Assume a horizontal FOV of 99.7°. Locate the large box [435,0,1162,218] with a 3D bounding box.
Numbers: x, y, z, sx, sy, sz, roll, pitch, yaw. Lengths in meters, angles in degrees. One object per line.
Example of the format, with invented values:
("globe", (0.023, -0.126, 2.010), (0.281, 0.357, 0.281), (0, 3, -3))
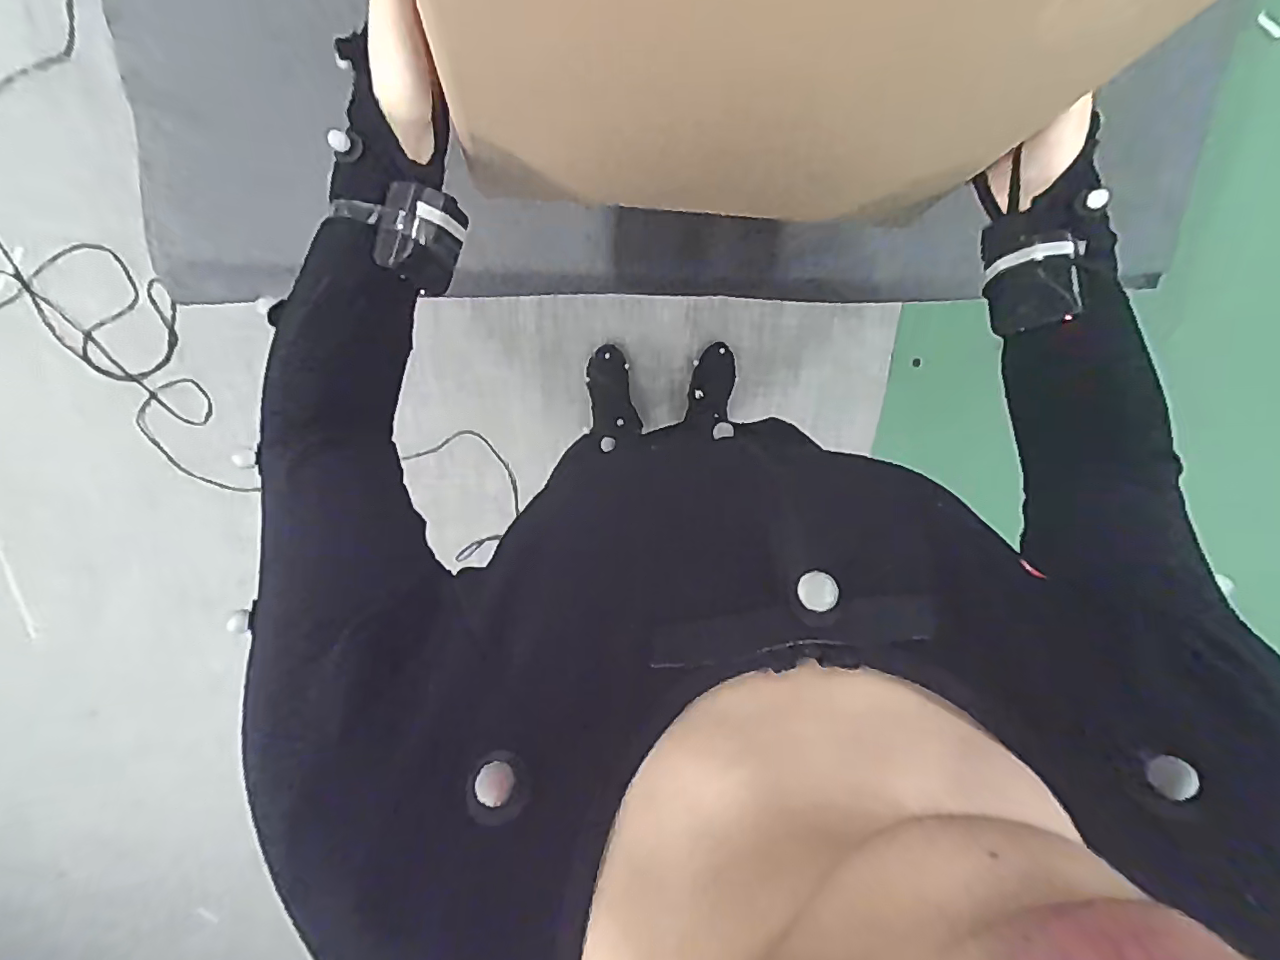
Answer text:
("large box", (0.075, -0.404, 0.359), (0.408, 0.320, 0.320), (0, 90, -8))
